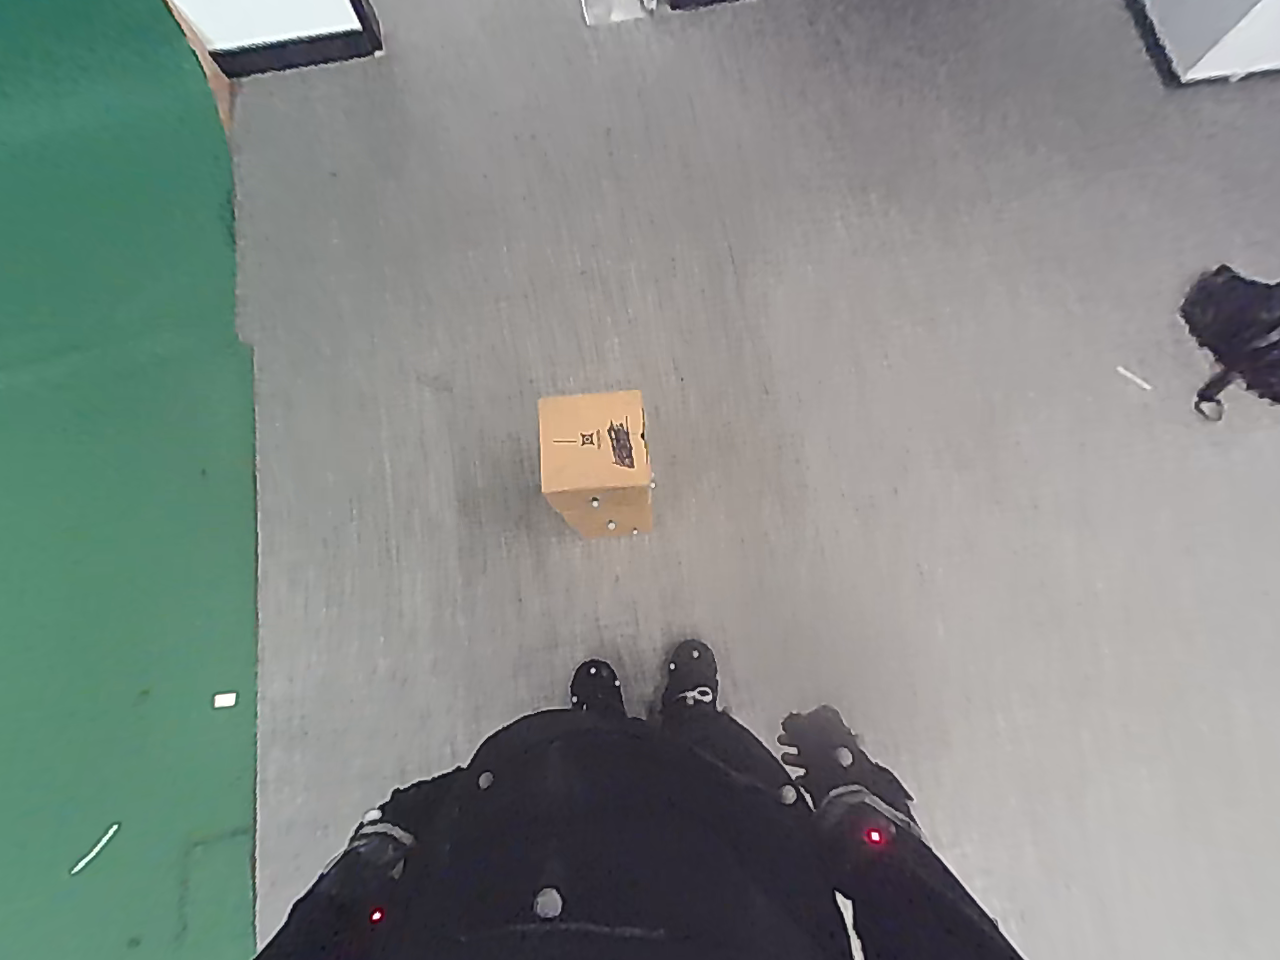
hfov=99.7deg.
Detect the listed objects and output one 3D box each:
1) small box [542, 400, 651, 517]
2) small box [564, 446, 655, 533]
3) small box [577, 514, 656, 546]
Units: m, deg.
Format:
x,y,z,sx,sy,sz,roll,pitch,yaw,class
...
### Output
x,y,z,sx,sy,sz,roll,pitch,yaw,class
-0.071,-0.032,0.965,0.179,0.176,0.168,-4,75,1,small box
-0.067,0.012,1.124,0.179,0.176,0.168,-6,75,-2,small box
-0.061,0.057,1.281,0.179,0.176,0.168,-8,74,-1,small box
